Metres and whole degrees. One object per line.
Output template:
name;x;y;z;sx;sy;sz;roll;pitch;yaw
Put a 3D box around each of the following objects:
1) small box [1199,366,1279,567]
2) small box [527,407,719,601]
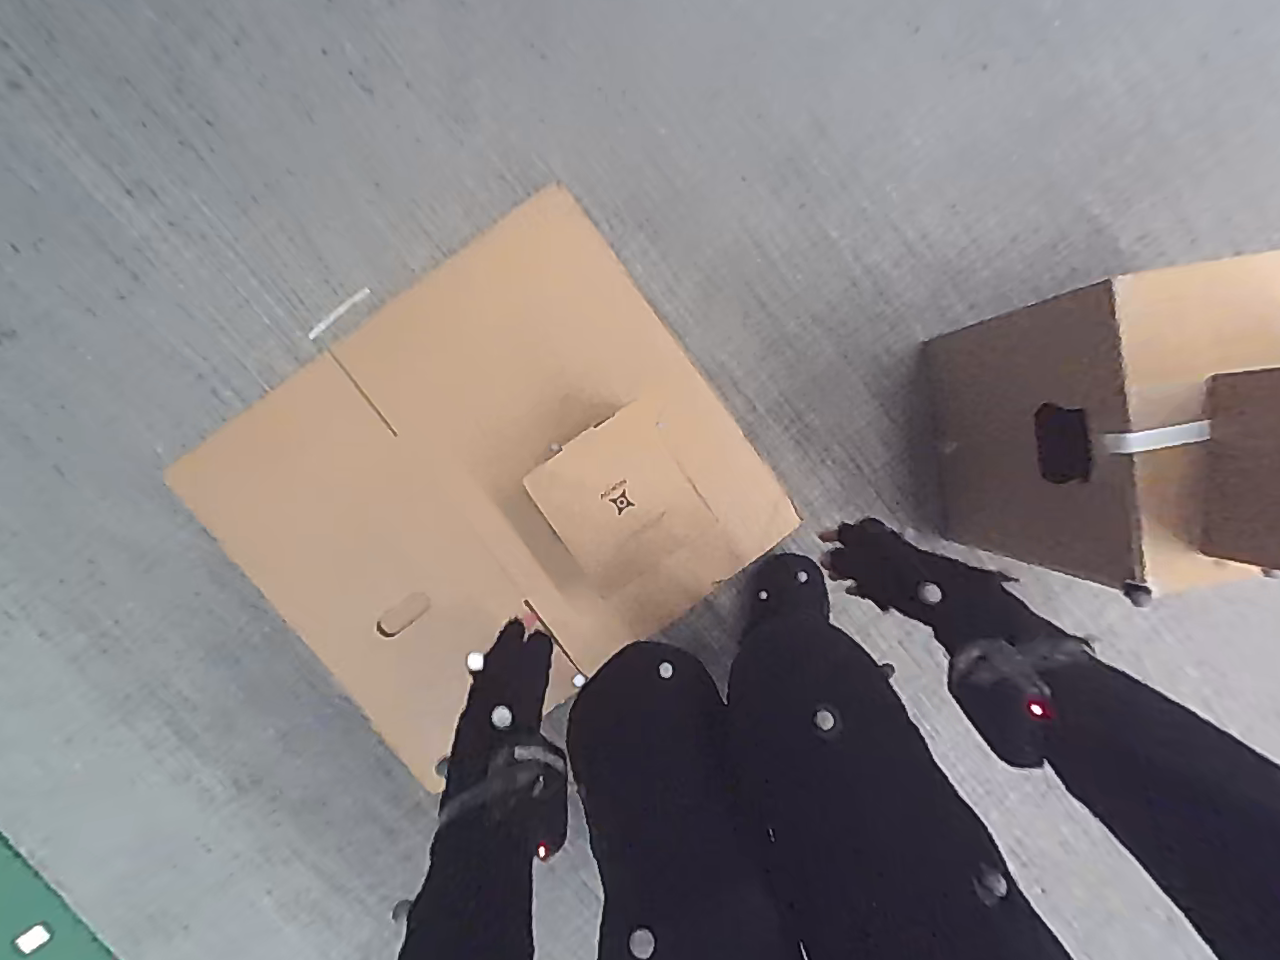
small box;0.617;-0.011;0.440;0.168;0.176;0.179;-3;93;-2
small box;-0.022;0.026;0.714;0.168;0.176;0.179;-35;94;1
